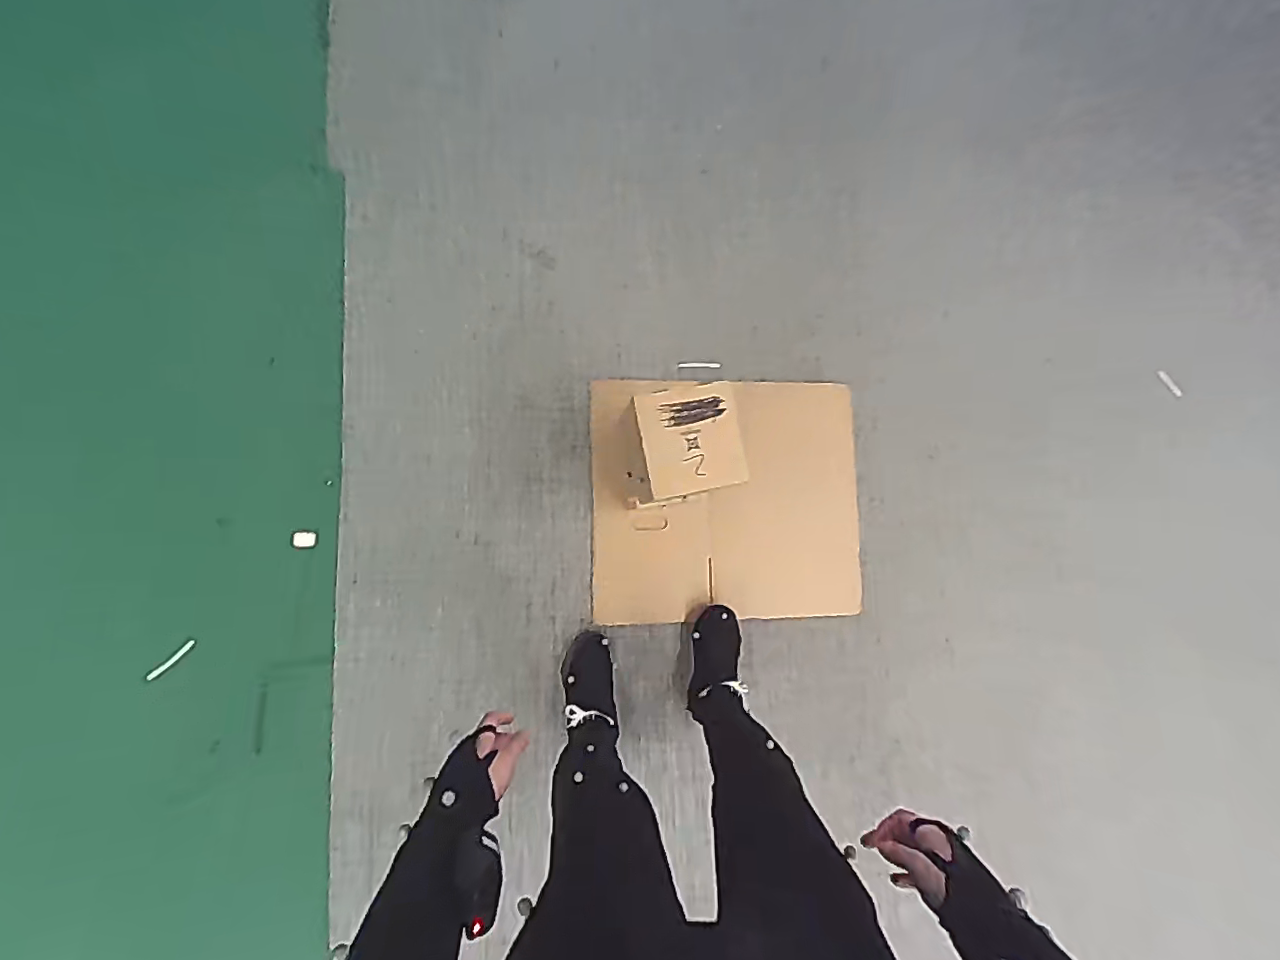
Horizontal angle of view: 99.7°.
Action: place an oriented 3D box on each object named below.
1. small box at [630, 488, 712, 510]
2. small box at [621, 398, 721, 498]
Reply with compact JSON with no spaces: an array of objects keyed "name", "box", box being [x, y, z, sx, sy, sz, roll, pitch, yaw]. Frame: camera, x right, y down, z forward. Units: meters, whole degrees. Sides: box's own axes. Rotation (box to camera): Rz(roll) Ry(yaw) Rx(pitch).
[{"name":"small box","box":[0.058,-0.029,1.273,0.168,0.176,0.179,-9,86,-7]},{"name":"small box","box":[0.057,-0.058,1.109,0.168,0.176,0.179,-8,85,-8]}]
